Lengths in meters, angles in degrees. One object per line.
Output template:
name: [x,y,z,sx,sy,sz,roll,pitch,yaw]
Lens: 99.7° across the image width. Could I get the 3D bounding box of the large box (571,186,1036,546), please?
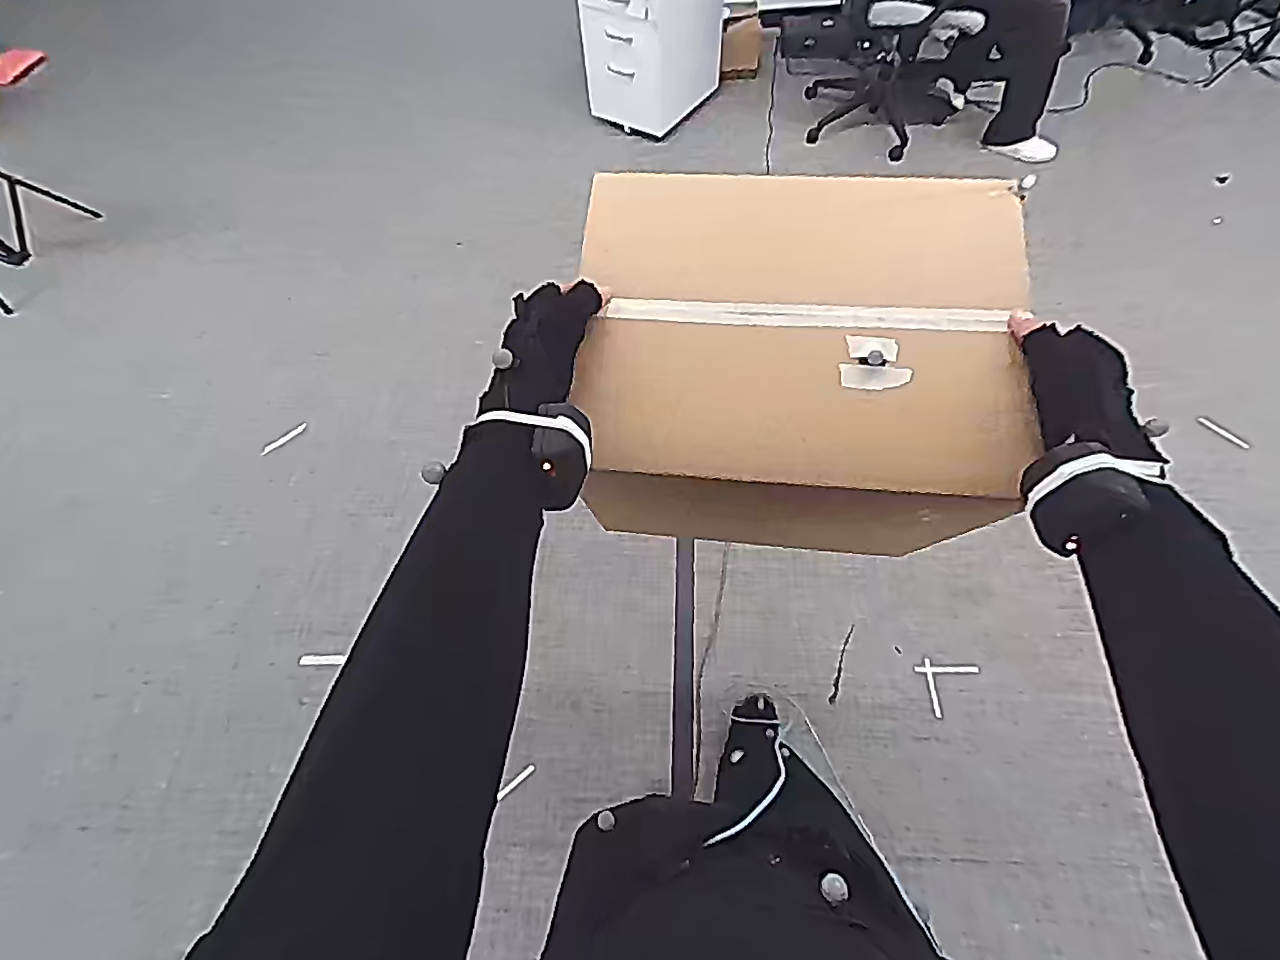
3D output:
large box: [0.157,-0.108,0.647,0.408,0.320,0.320,5,76,6]
